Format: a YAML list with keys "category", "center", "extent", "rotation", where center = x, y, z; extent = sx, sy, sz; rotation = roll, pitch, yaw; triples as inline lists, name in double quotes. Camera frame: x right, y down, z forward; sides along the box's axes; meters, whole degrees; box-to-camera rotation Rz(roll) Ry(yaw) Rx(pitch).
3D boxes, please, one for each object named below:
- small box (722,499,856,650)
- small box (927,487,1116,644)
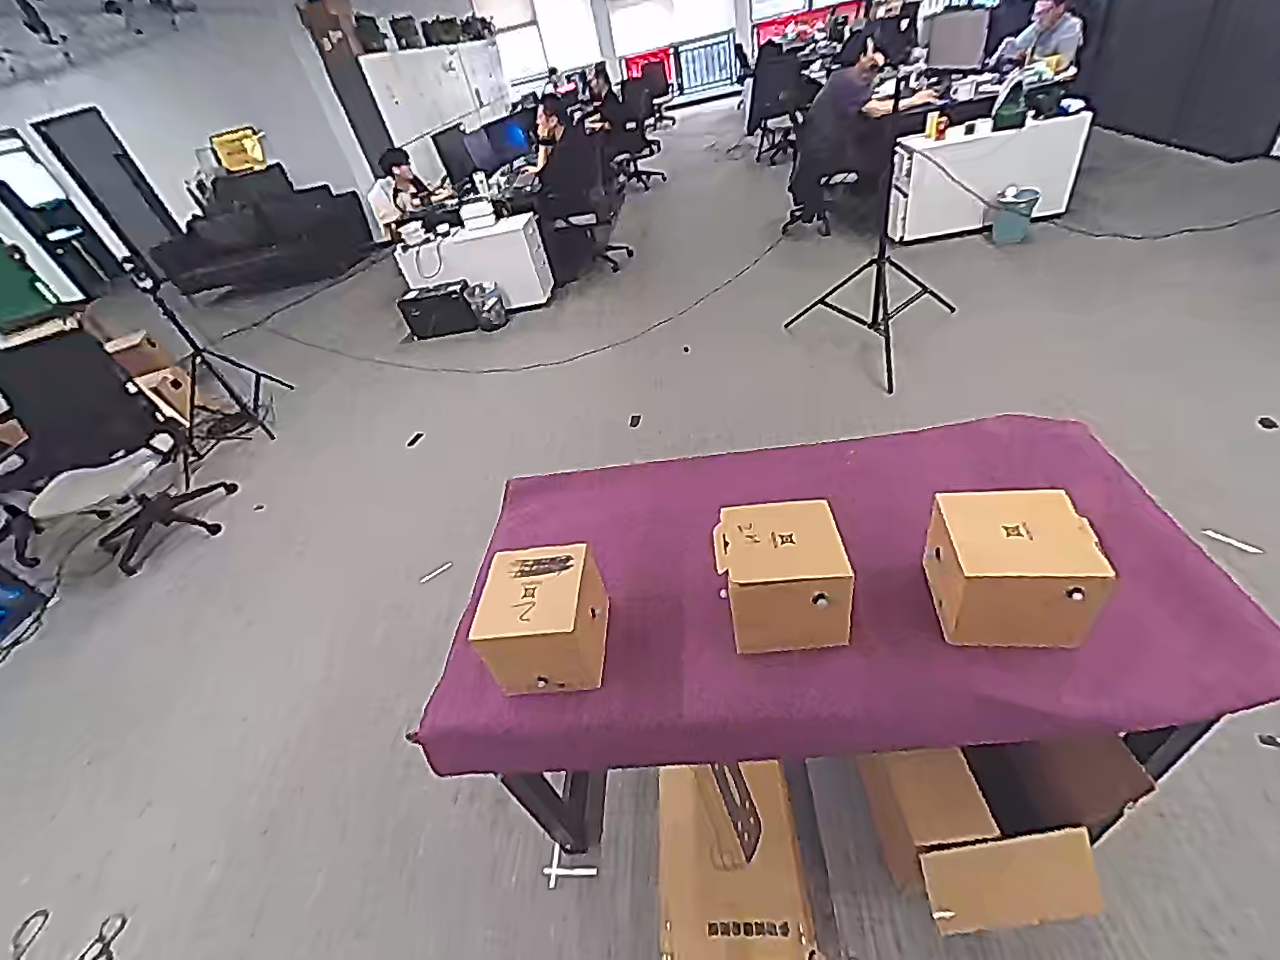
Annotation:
- category: "small box"
  center: [0.231, 0.153, 0.869]
  extent: [0.179, 0.176, 0.168]
  rotation: [-8, 37, 8]
- category: "small box"
  center: [0.543, 0.128, 0.805]
  extent: [0.179, 0.176, 0.168]
  rotation: [-3, 41, 14]
